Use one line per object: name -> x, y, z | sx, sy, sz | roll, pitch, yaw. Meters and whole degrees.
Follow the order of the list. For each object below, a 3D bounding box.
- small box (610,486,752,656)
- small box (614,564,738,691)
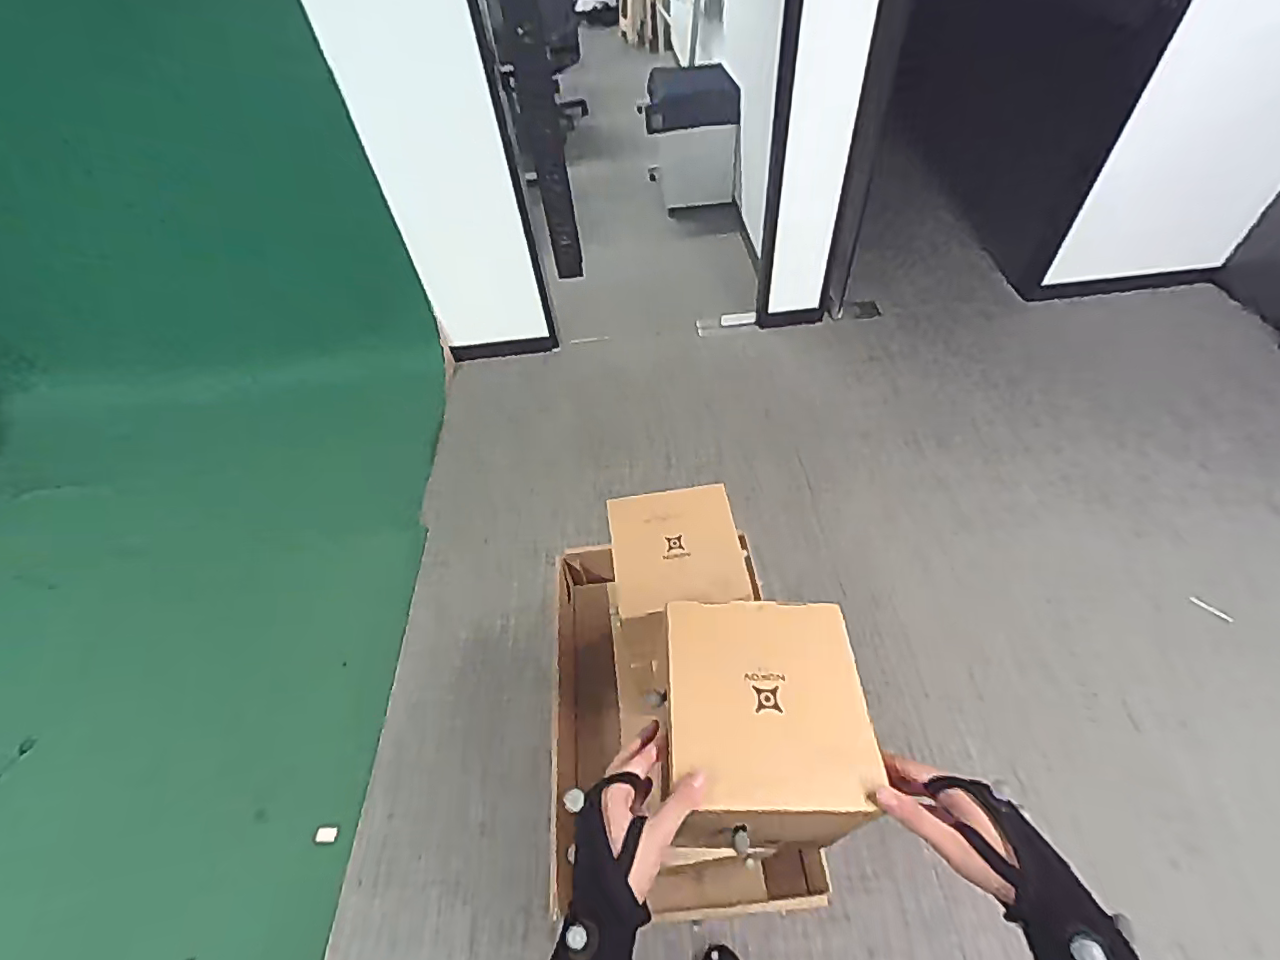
small box -> 0.053, 0.135, 0.758 | 0.168, 0.176, 0.179 | -7, 53, -1
small box -> 0.058, 0.233, 0.888 | 0.168, 0.176, 0.179 | -10, 53, -2
